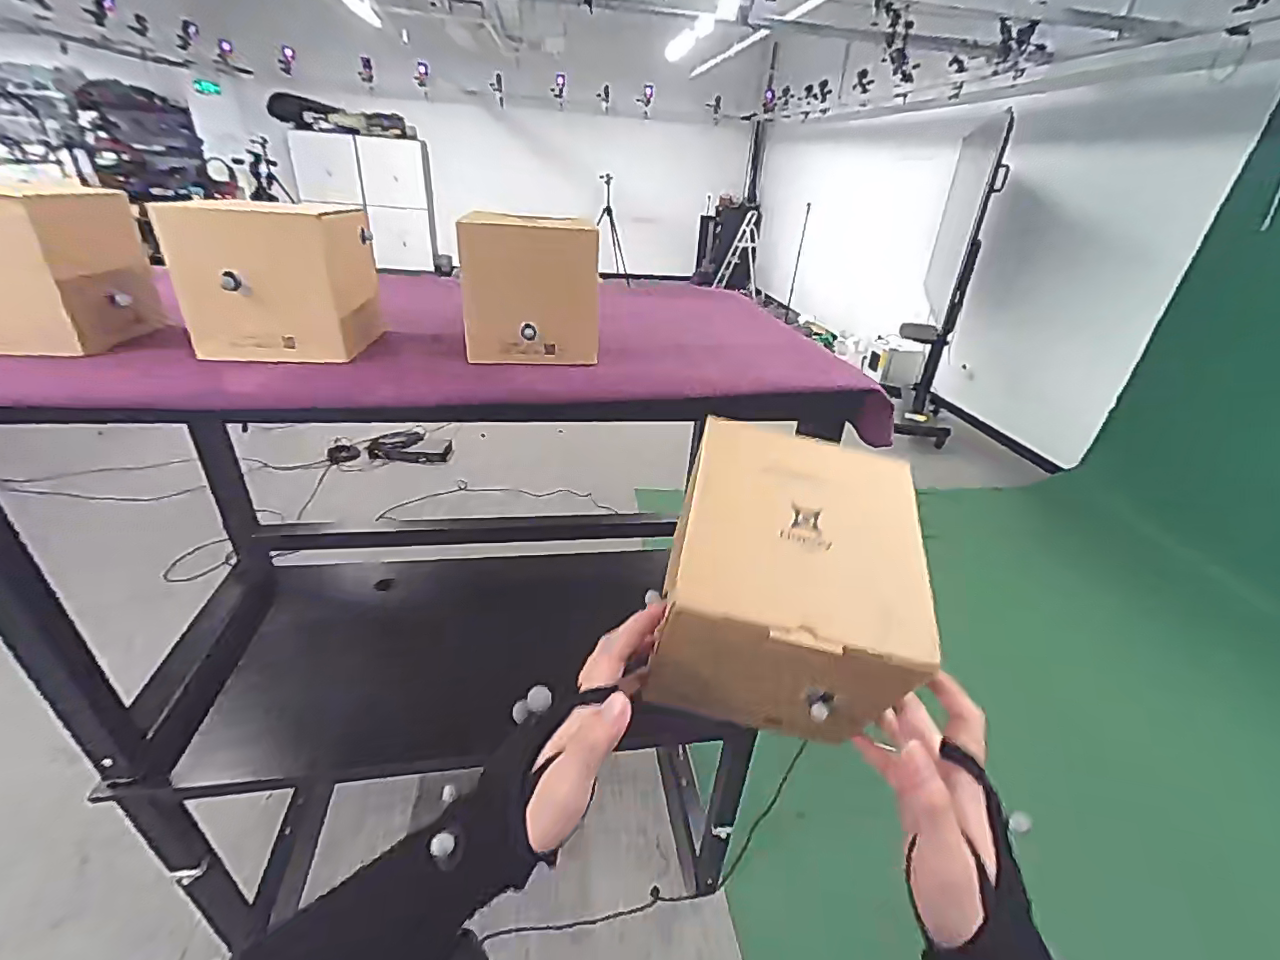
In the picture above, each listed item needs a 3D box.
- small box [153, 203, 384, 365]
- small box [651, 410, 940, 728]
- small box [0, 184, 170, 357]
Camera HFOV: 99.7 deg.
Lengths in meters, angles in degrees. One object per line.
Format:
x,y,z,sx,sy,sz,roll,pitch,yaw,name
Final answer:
-0.438,-0.247,0.678,0.168,0.176,0.179,-1,28,-9,small box
0.108,0.076,0.436,0.168,0.176,0.179,13,50,3,small box
-0.717,-0.247,0.634,0.179,0.176,0.168,0,29,-10,small box
